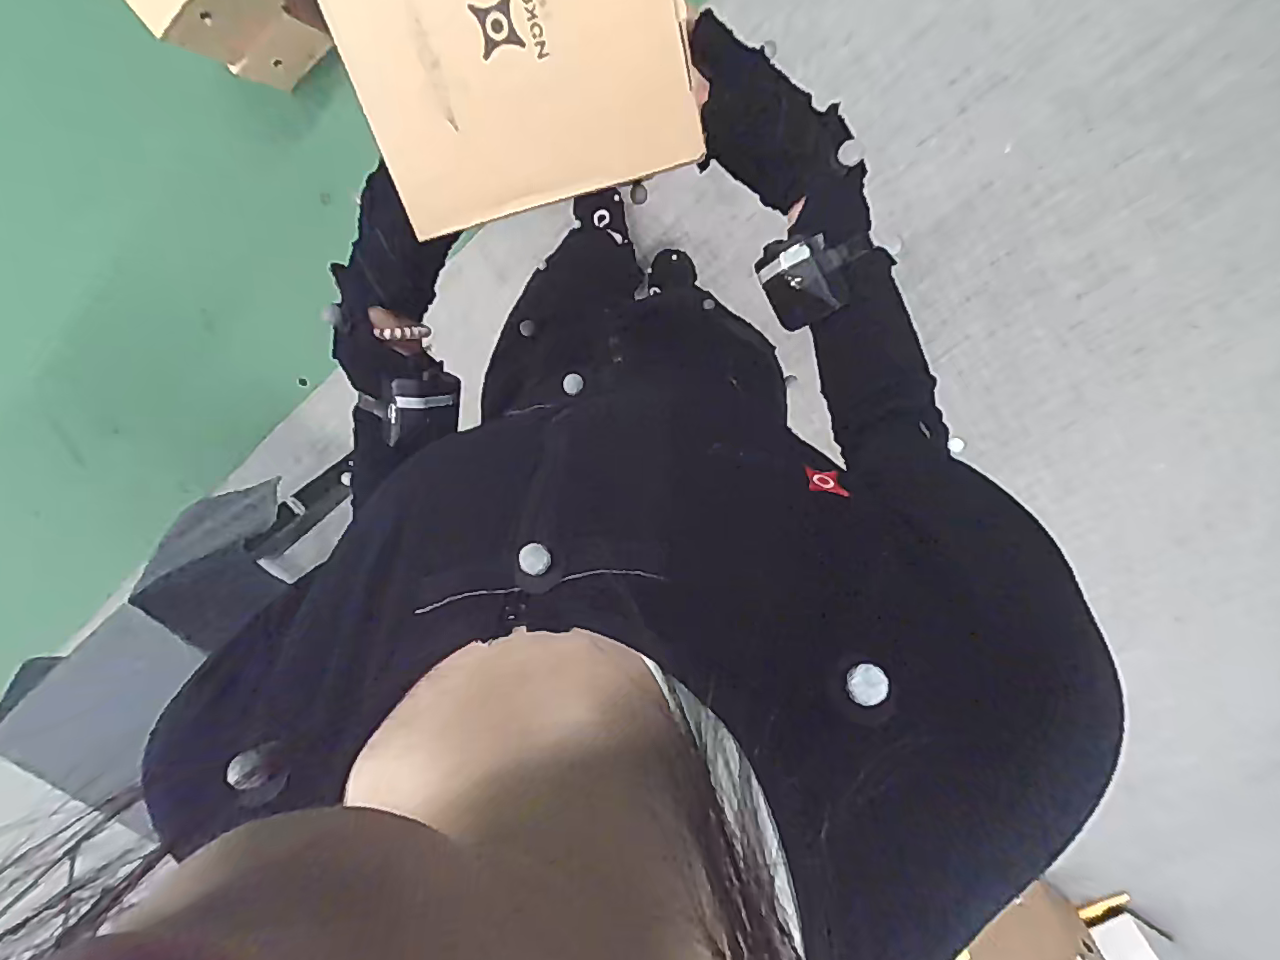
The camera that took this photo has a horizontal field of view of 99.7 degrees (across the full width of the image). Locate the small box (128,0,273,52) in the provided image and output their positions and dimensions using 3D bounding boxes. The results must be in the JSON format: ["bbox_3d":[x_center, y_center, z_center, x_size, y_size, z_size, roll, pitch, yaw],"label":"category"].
[{"bbox_3d":[-0.779,-0.884,0.921,0.179,0.176,0.168,-31,110,16],"label":"small box"}]

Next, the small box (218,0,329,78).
[{"bbox_3d":[-0.772,-0.943,1.076,0.168,0.176,0.179,-30,110,16],"label":"small box"}]

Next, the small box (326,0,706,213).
[{"bbox_3d":[-0.066,-0.278,0.332,0.179,0.176,0.168,-12,118,8],"label":"small box"}]
